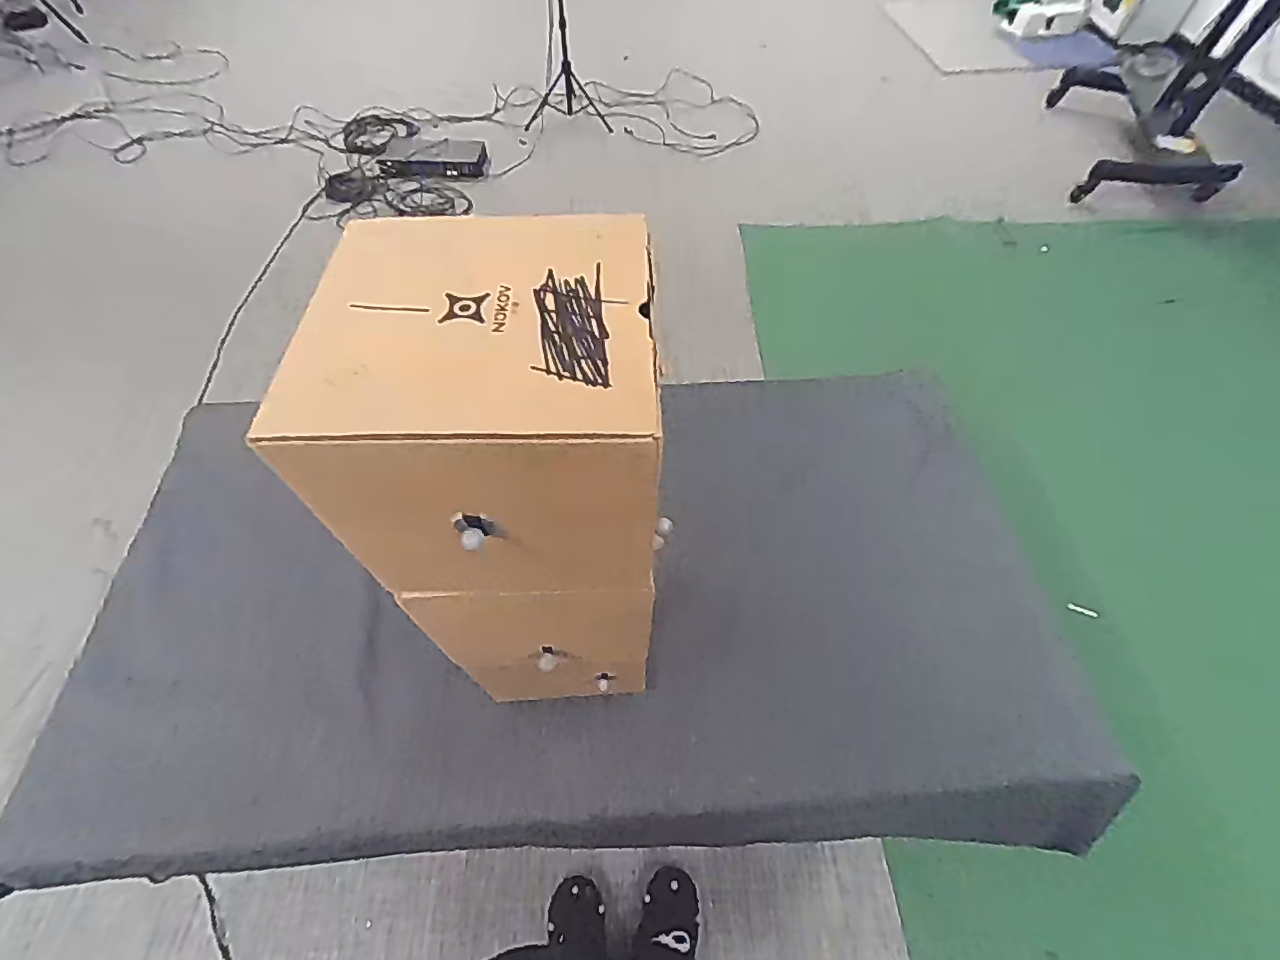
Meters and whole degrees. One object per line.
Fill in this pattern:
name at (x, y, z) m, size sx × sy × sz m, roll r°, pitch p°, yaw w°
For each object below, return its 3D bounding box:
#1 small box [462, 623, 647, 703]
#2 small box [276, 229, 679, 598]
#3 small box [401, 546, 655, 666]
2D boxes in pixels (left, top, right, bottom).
small box at (-0.088, 0.147, 0.619) m, size 0.179 × 0.176 × 0.168 m, roll -4°, pitch 56°, yaw -3°
small box at (-0.079, -0.034, 0.345) m, size 0.179 × 0.176 × 0.168 m, roll -3°, pitch 56°, yaw -5°
small box at (-0.083, 0.059, 0.482) m, size 0.179 × 0.176 × 0.168 m, roll -2°, pitch 56°, yaw -3°
